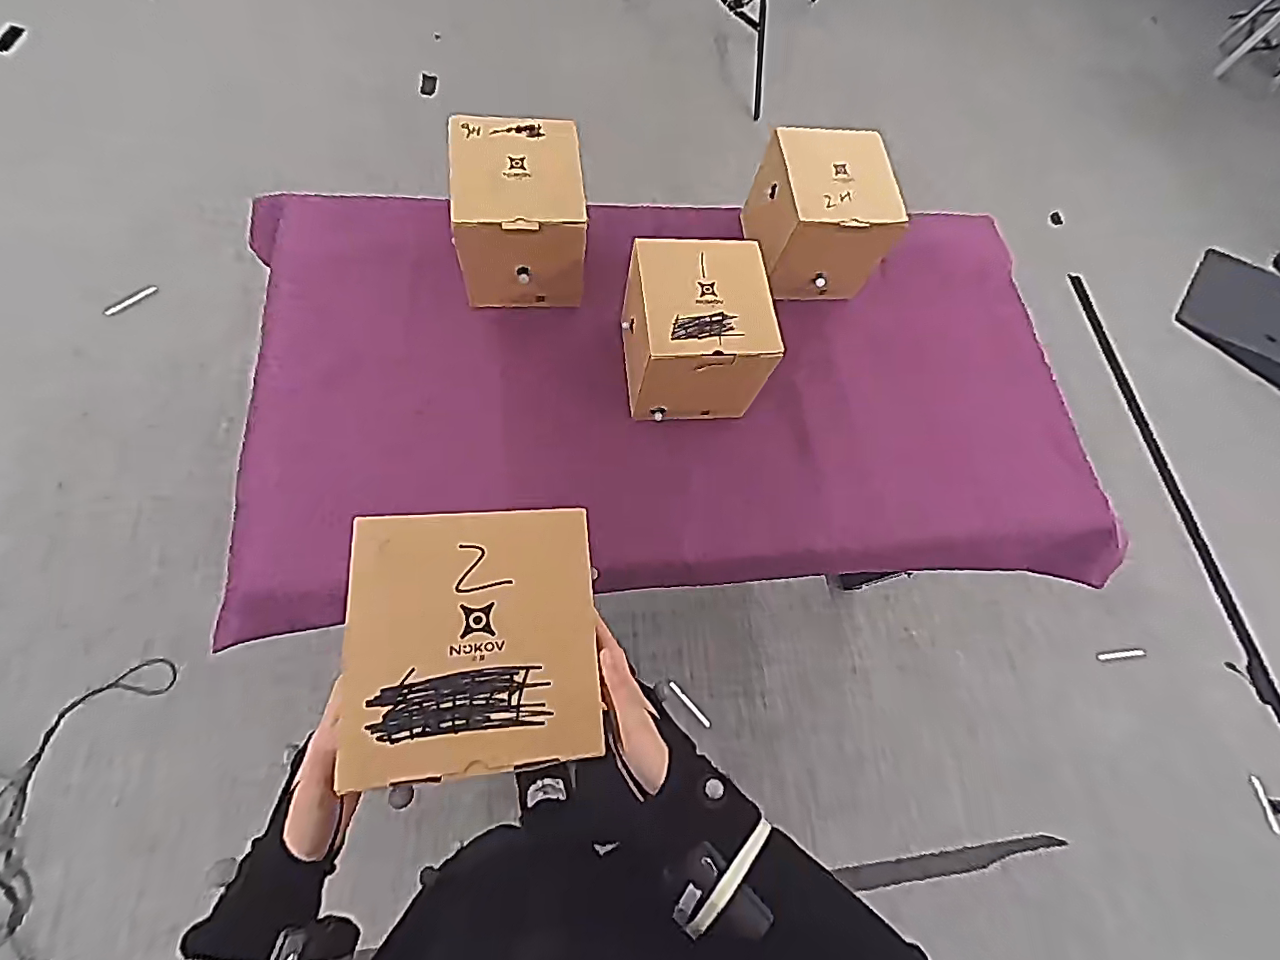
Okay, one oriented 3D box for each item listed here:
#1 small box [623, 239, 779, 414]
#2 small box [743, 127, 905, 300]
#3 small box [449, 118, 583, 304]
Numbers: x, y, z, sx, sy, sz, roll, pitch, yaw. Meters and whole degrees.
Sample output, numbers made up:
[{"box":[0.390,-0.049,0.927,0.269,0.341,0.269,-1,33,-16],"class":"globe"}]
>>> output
[{"box":[0.071,-0.198,0.738,0.168,0.176,0.179,-3,70,-10],"class":"small box"},{"box":[0.270,-0.406,0.841,0.168,0.176,0.179,-4,72,-9],"class":"small box"},{"box":[-0.169,-0.365,0.762,0.168,0.176,0.179,-4,73,-10],"class":"small box"}]
